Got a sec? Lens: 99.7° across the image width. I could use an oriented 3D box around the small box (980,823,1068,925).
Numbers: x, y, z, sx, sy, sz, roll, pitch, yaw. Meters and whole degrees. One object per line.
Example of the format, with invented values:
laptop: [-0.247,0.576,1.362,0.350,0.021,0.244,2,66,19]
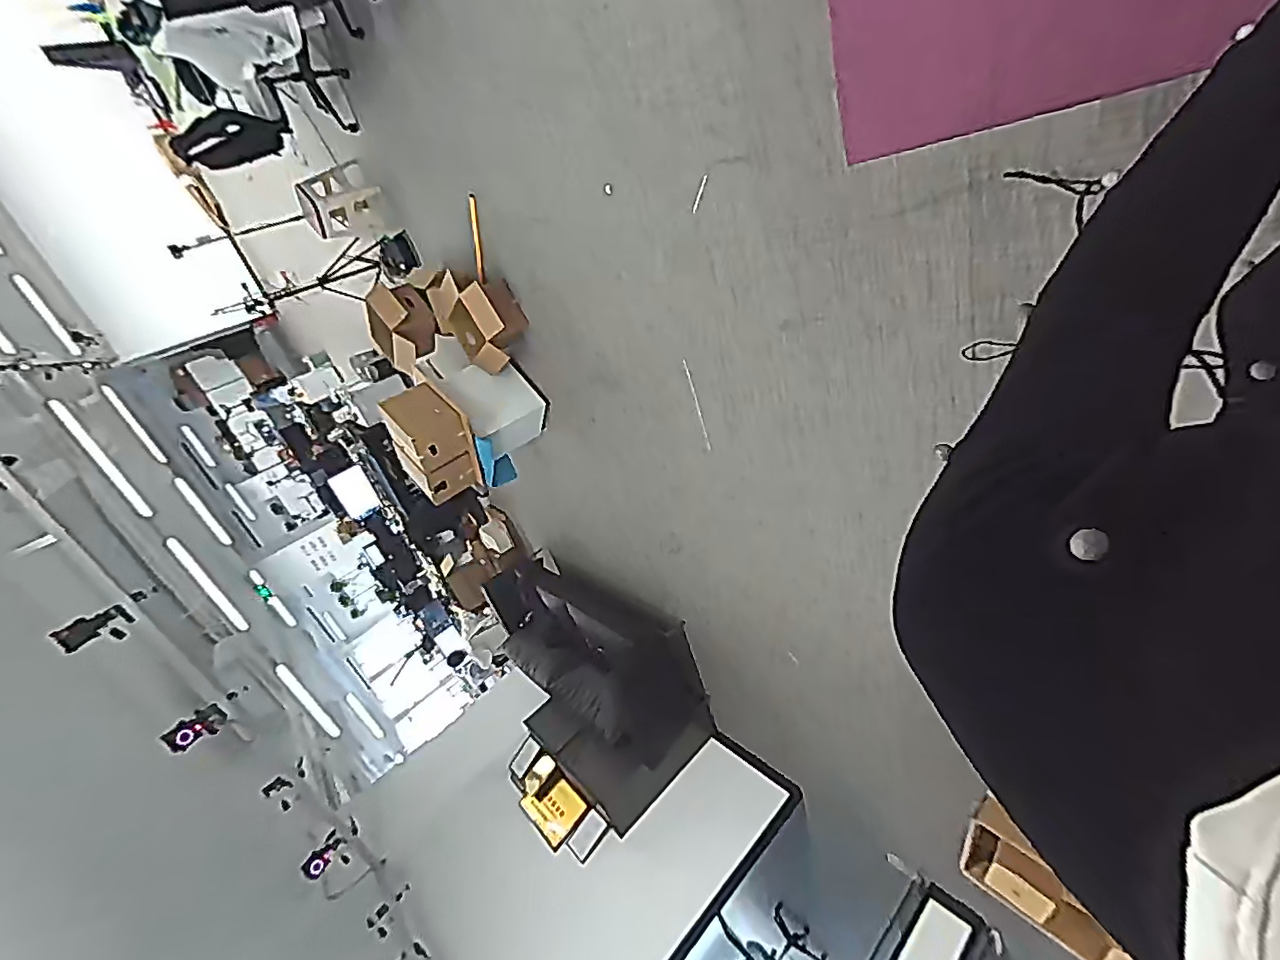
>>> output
small box: [1.213,1.240,1.709,0.168,0.176,0.179,26,139,40]
